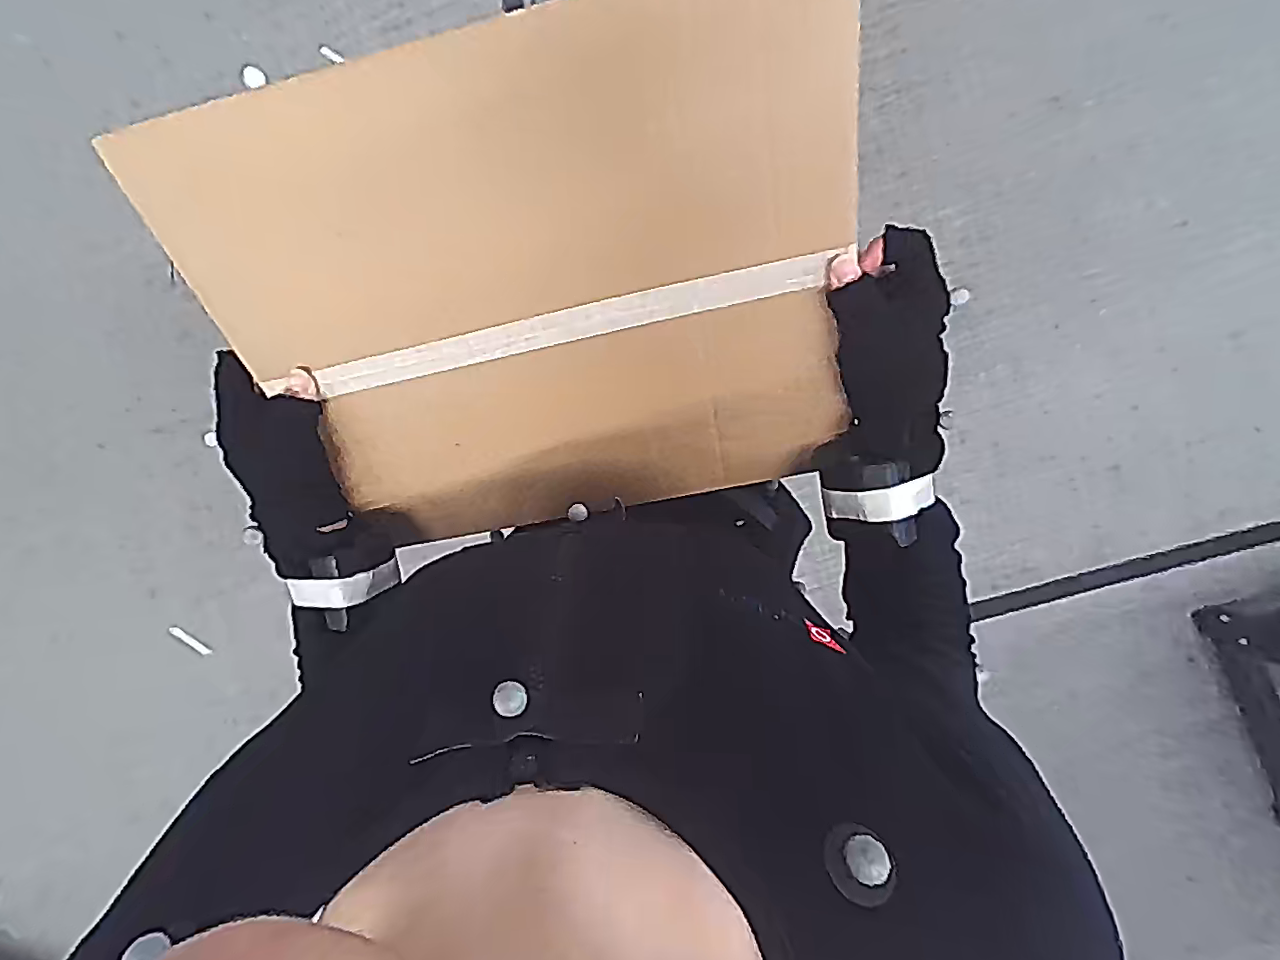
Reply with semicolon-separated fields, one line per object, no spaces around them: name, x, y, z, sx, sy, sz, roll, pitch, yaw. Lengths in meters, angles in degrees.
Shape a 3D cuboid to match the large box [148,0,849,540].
large box;-0.064;-0.189;0.491;0.408;0.320;0.320;-11;126;7
